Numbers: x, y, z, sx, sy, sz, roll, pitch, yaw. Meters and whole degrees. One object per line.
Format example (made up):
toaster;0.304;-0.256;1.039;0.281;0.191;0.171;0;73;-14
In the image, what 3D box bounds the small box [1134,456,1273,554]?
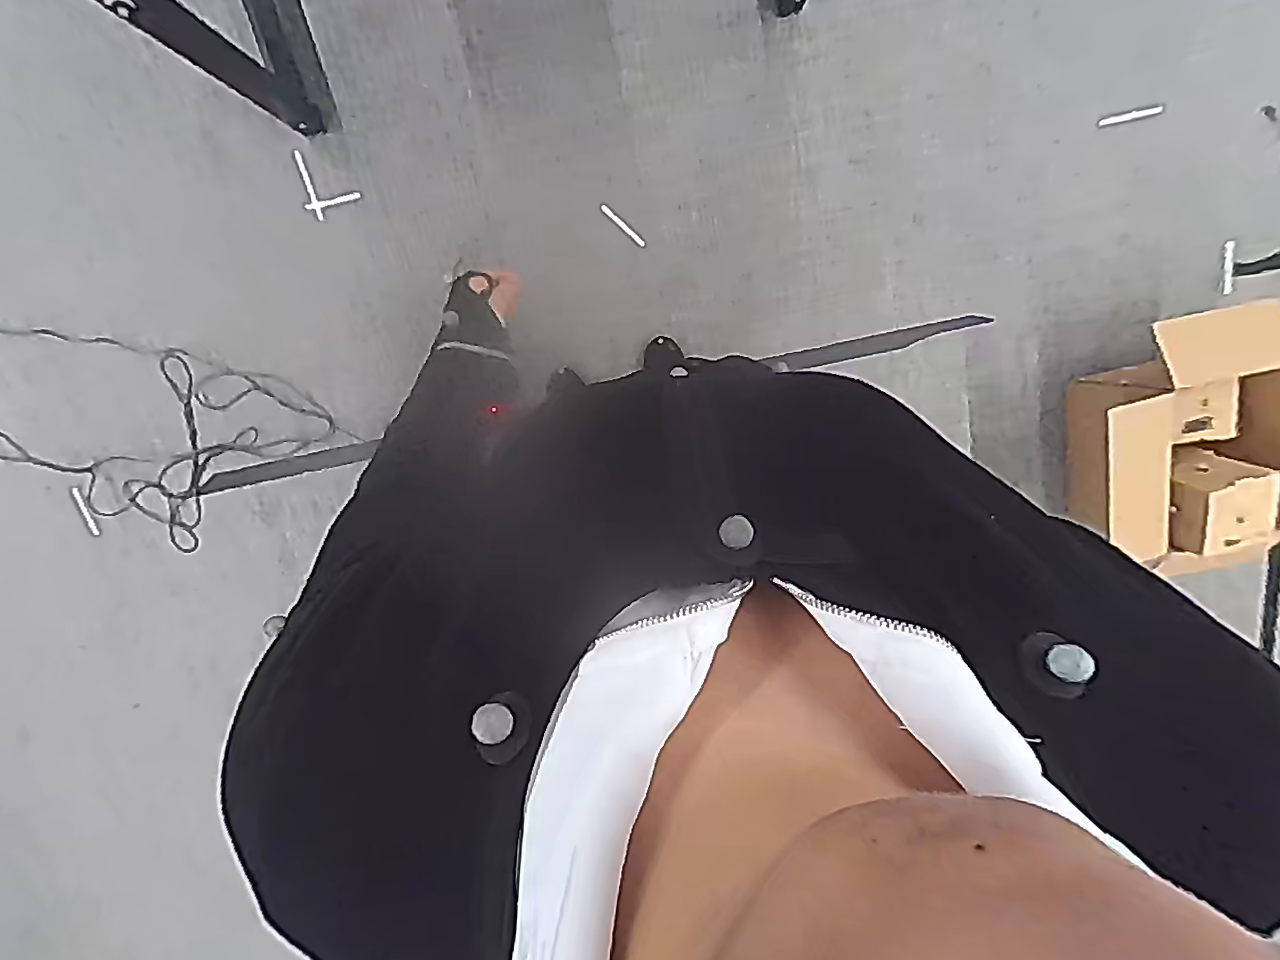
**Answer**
small box;1.352;0.050;1.309;0.168;0.176;0.179;-16;108;0
